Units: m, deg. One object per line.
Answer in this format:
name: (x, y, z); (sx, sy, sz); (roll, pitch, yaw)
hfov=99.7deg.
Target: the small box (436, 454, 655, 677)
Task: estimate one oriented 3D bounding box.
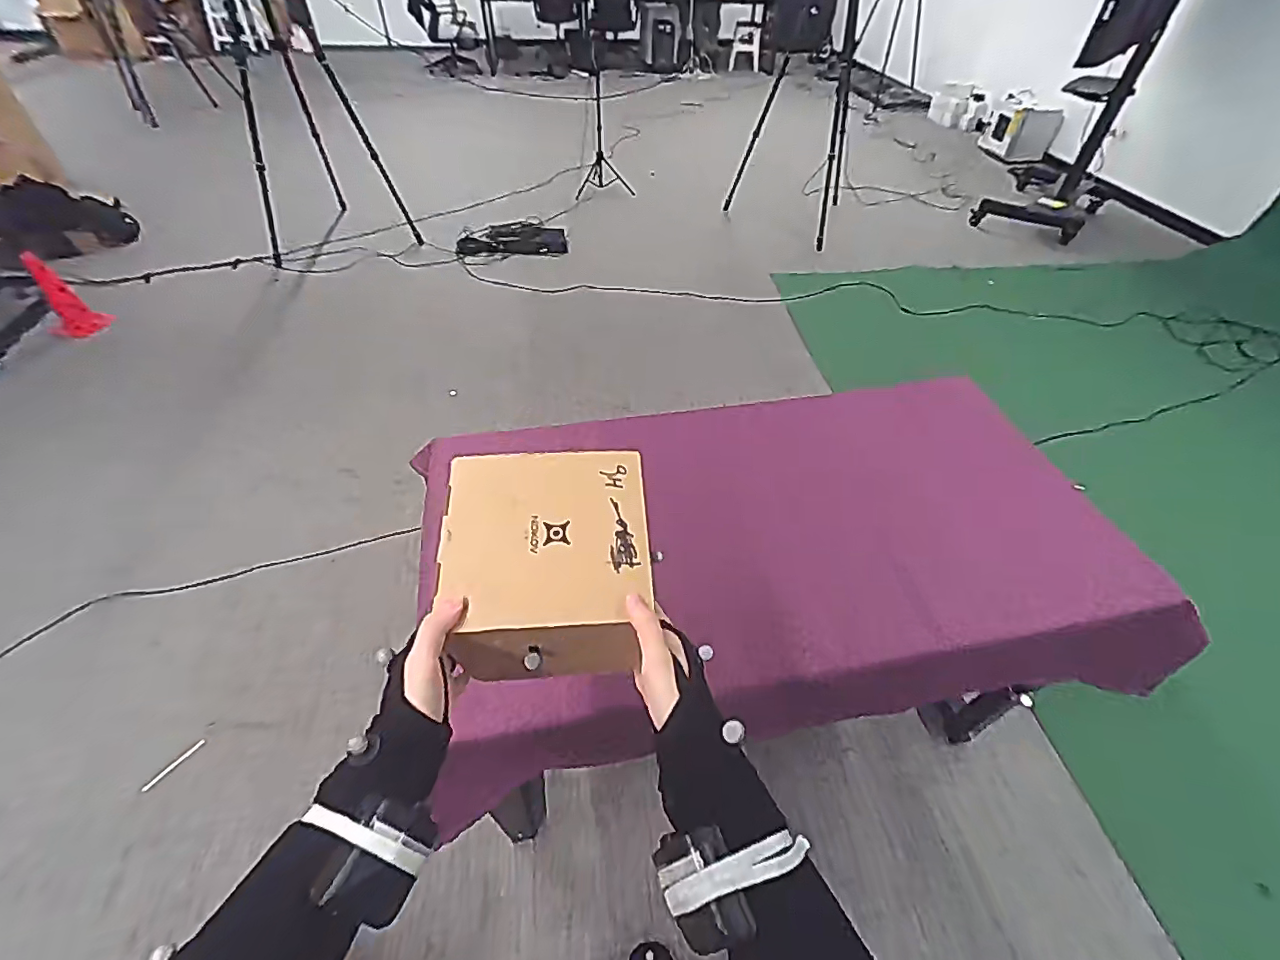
small box: (-0.080, 0.090, 0.536); (0.179, 0.176, 0.168); (-3, 58, -4)
